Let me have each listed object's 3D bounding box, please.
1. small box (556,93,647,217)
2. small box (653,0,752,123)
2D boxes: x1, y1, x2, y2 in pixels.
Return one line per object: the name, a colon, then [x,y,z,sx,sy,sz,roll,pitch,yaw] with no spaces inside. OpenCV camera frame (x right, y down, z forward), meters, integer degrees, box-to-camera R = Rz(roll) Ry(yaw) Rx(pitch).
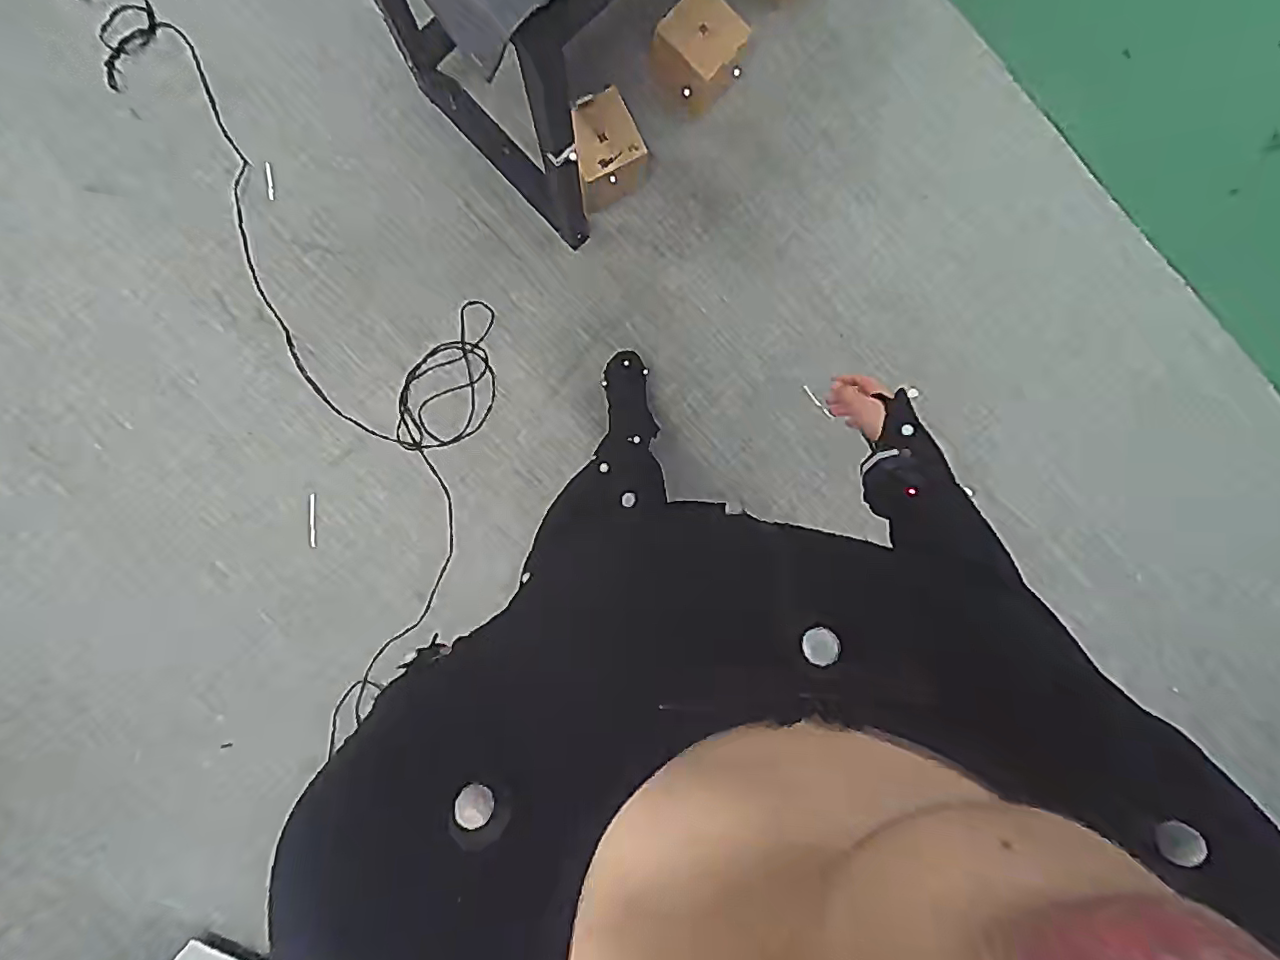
small box: [-0.095,-0.804,1.355,0.168,0.176,0.179,-26,93,-2]
small box: [0.149,-1.047,1.358,0.179,0.176,0.168,44,89,-2]
